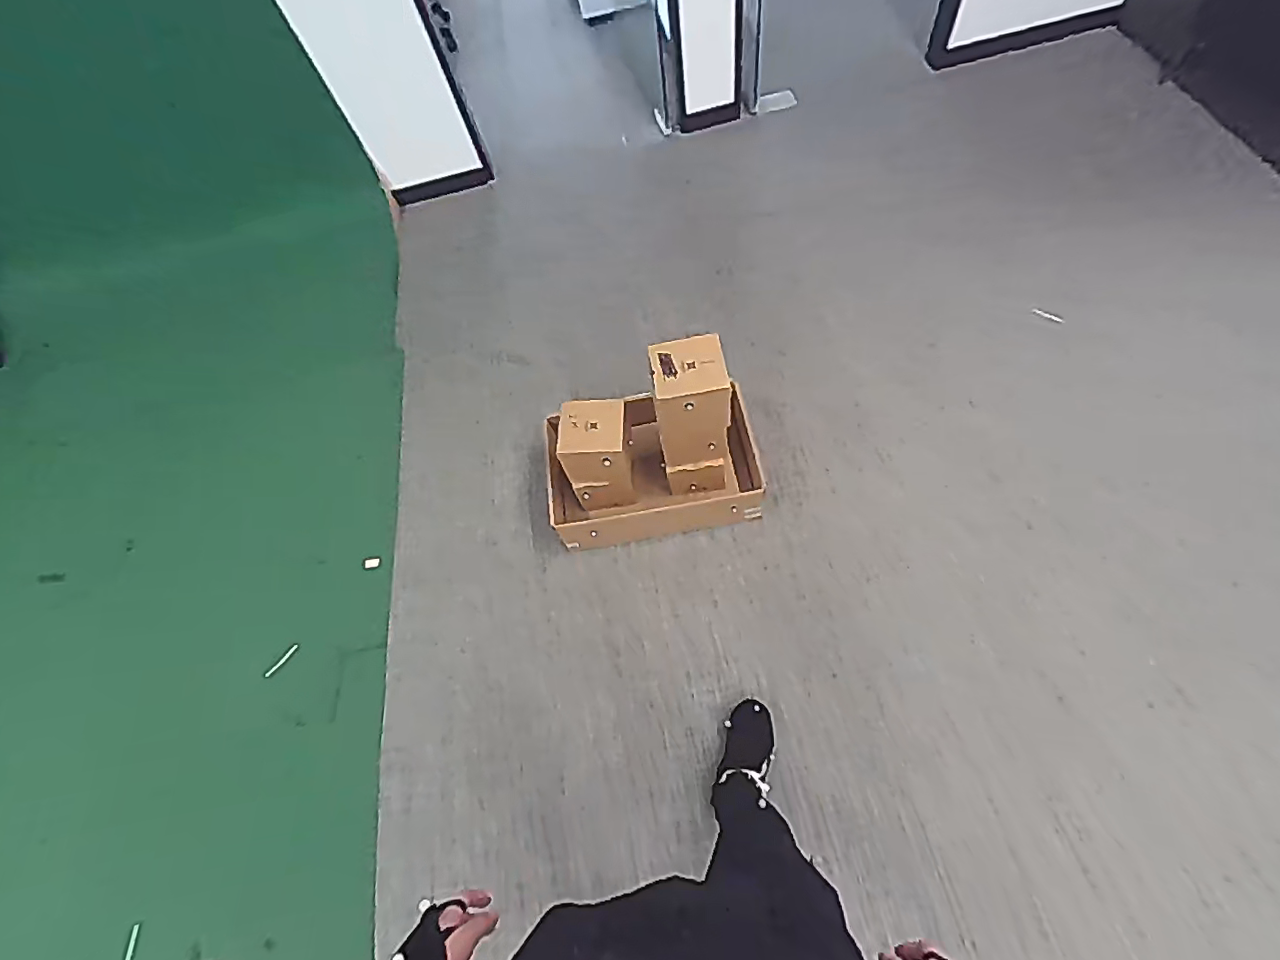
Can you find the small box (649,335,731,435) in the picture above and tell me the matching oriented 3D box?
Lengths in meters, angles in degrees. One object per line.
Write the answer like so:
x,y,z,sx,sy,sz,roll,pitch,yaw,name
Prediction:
0.128,-0.229,1.340,0.179,0.176,0.168,-9,63,4,small box
